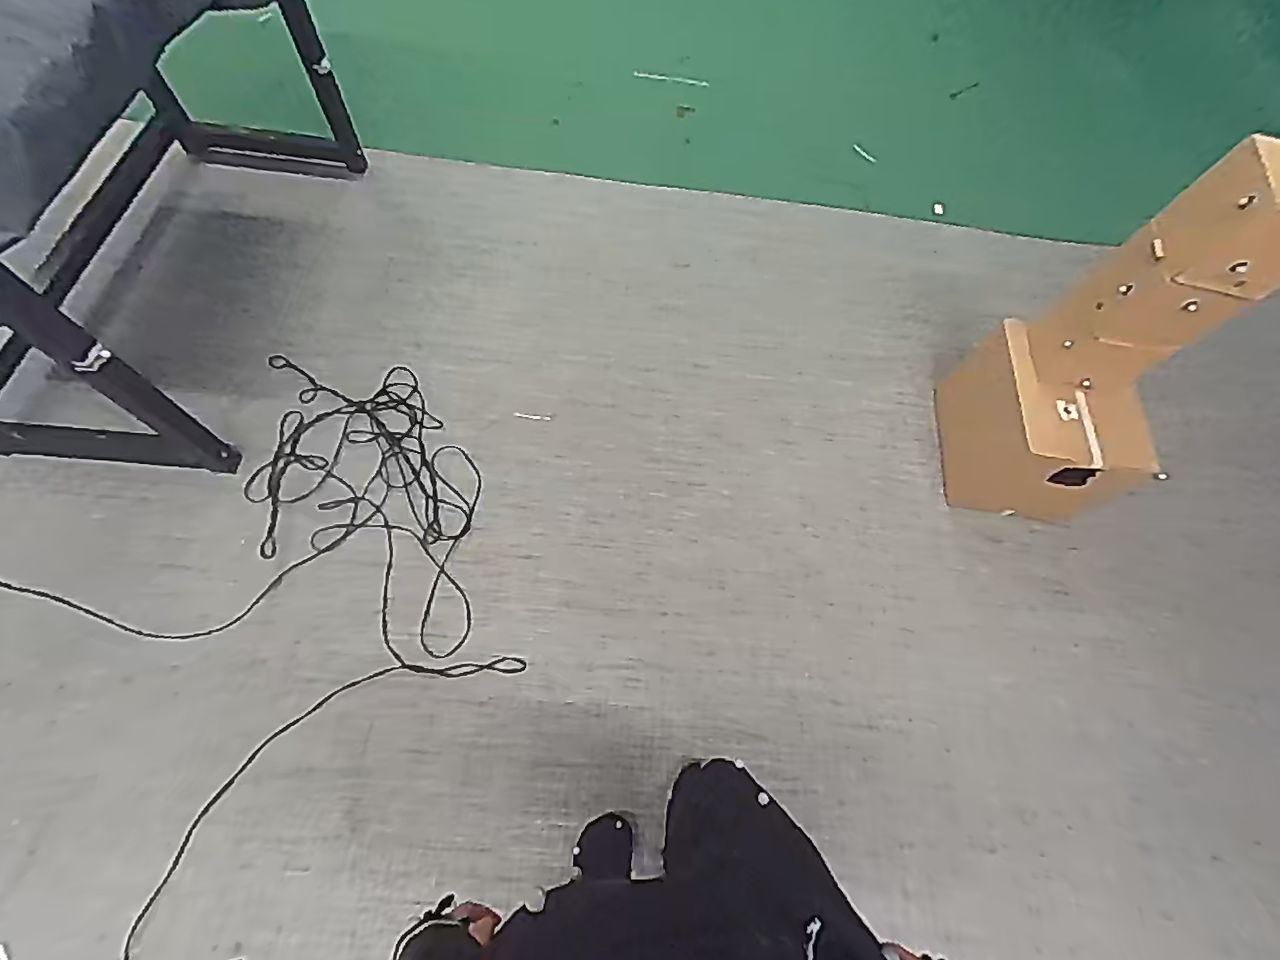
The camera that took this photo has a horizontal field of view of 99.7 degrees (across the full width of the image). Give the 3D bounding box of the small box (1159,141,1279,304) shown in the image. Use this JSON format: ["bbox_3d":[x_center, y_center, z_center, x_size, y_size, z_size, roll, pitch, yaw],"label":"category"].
[{"bbox_3d":[1.075,-0.447,0.952,0.168,0.176,0.179,13,66,0],"label":"small box"}]

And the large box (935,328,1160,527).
[{"bbox_3d":[1.032,-0.129,1.430,0.320,0.320,0.408,9,65,-1],"label":"large box"}]

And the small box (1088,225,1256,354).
[{"bbox_3d":[1.059,-0.379,1.100,0.179,0.176,0.168,12,66,-1],"label":"small box"}]
